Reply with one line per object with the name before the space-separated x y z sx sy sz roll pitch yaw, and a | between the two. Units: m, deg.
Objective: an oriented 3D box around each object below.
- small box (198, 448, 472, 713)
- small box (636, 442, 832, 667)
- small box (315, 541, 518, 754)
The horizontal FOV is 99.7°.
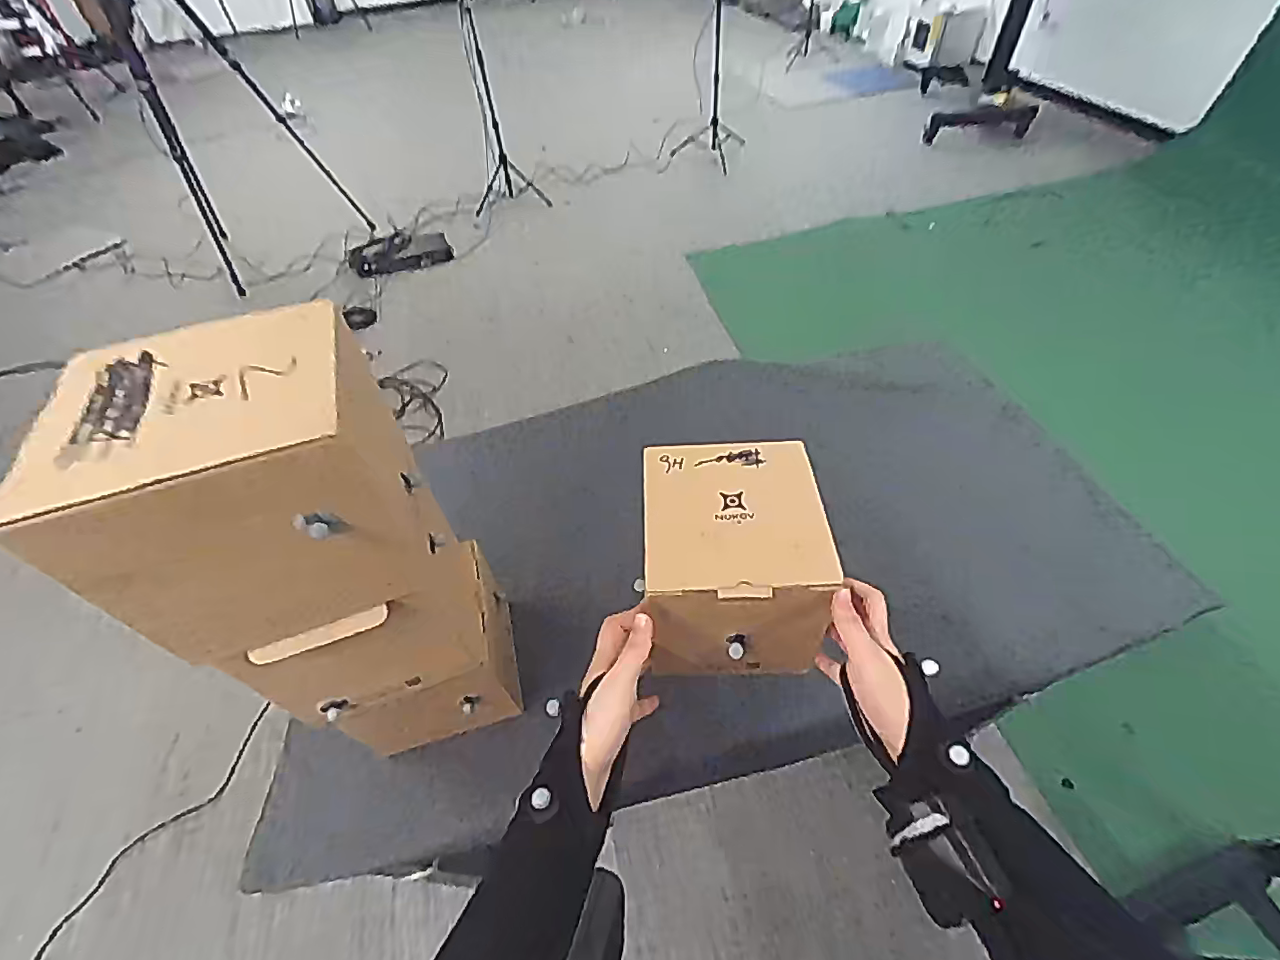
small box | -0.277 0.105 0.529 0.168 0.176 0.179 -18 49 -11
small box | 0.085 0.084 0.560 0.168 0.176 0.179 -3 48 3
small box | -0.256 0.206 0.657 0.179 0.176 0.168 -16 50 -7
